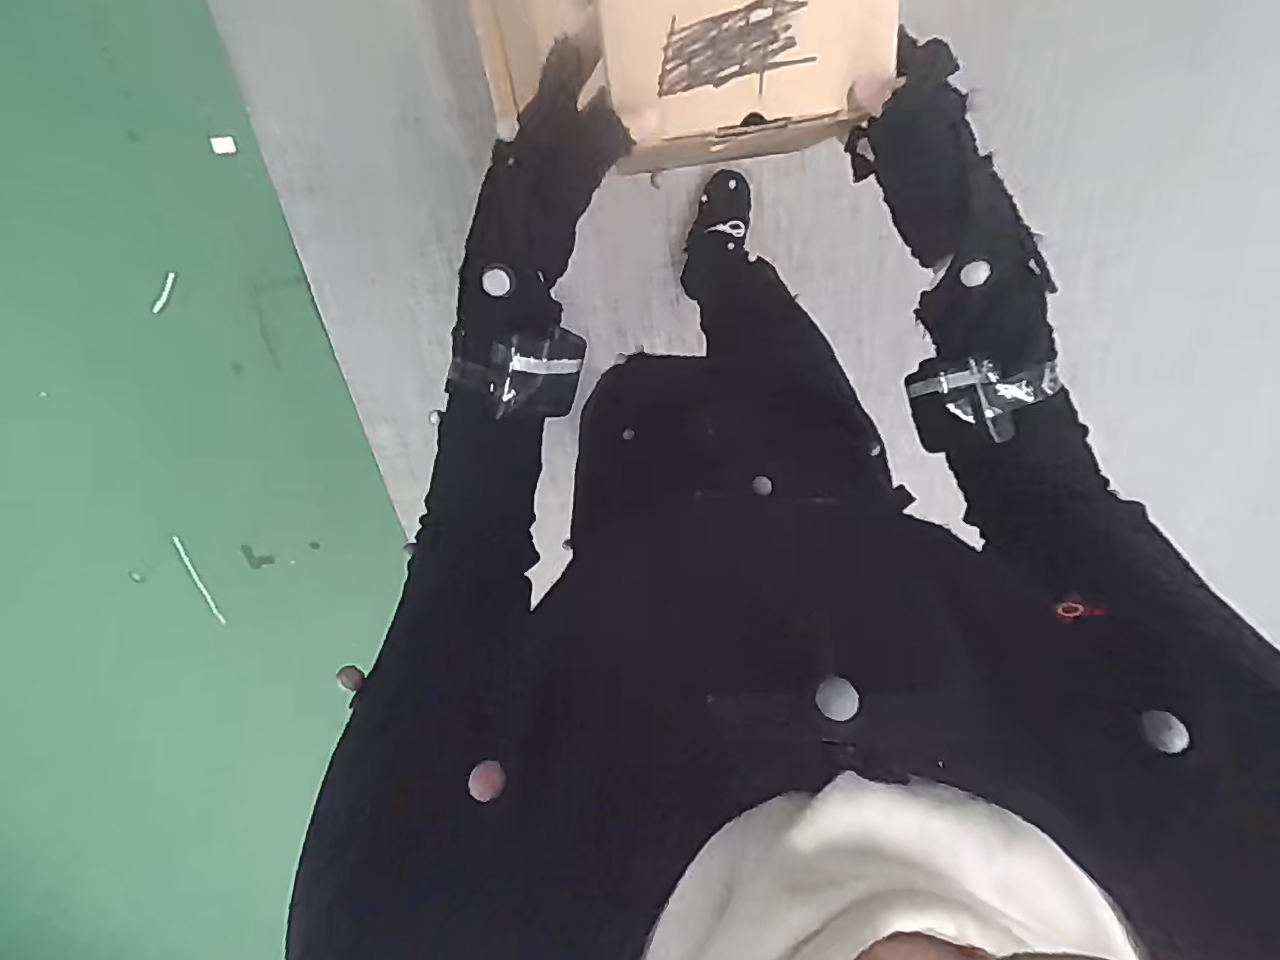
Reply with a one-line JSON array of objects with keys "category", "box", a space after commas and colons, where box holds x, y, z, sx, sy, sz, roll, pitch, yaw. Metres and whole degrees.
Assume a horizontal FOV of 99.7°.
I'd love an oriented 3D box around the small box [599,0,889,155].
[{"category": "small box", "box": [0.055, -0.333, 0.366, 0.168, 0.176, 0.179, -7, 114, 2]}]
